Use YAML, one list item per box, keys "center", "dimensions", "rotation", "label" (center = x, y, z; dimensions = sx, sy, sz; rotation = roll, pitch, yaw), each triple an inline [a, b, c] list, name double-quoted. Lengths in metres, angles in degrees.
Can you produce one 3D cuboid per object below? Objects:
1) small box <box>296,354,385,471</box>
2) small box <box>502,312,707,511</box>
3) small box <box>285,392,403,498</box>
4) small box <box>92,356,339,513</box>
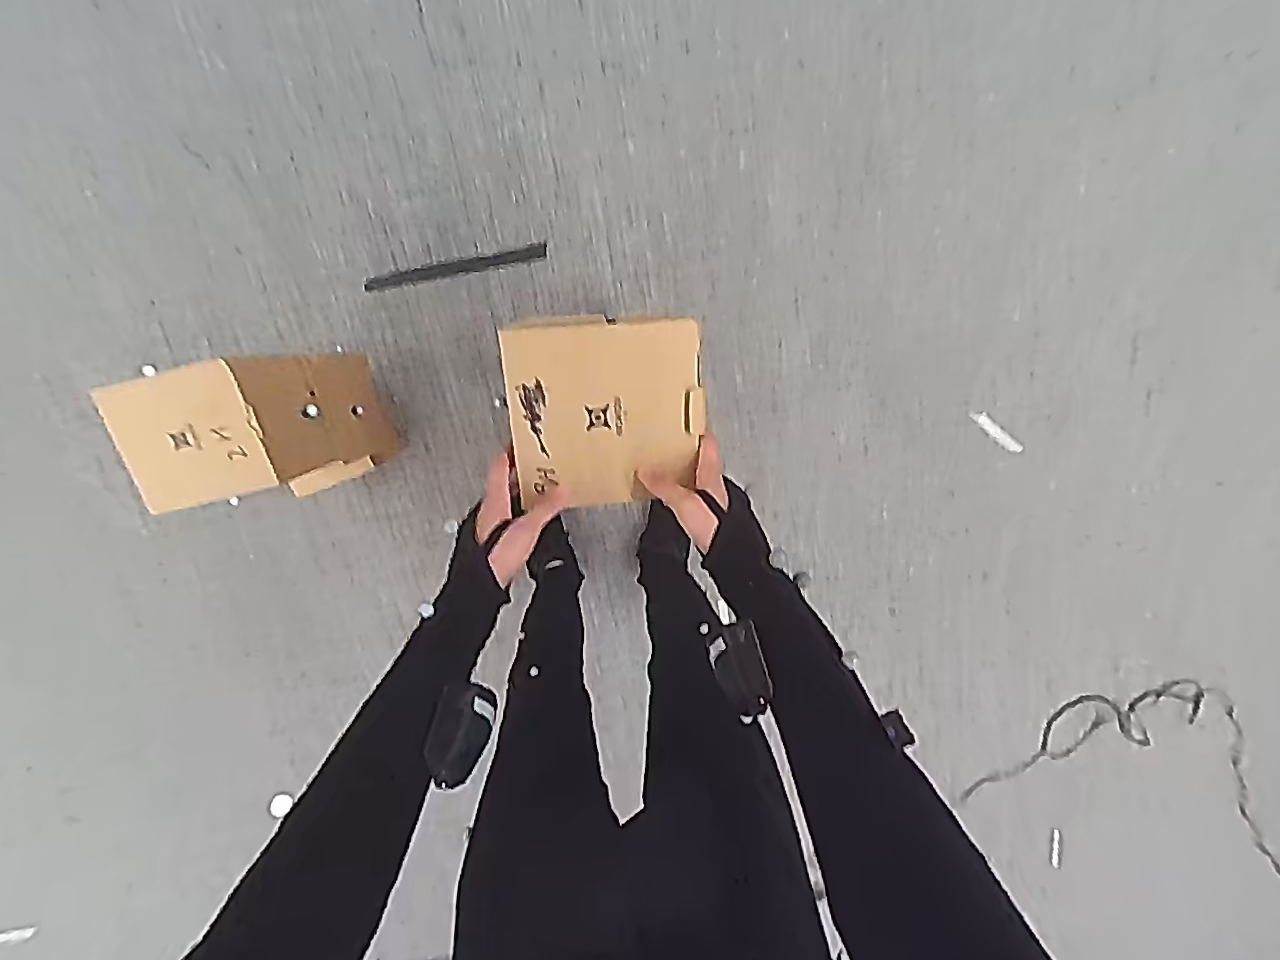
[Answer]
- center: [-0.552, -0.114, 0.899]
  dimensions: [0.168, 0.176, 0.179]
  rotation: [-6, 105, -1]
  label: "small box"
- center: [-0.038, -0.081, 0.553]
  dimensions: [0.179, 0.176, 0.168]
  rotation: [-6, 109, -7]
  label: "small box"
- center: [-0.605, -0.089, 1.071]
  dimensions: [0.168, 0.176, 0.179]
  rotation: [-21, 105, 2]
  label: "small box"
- center: [-0.558, -0.070, 0.740]
  dimensions: [0.179, 0.176, 0.168]
  rotation: [-13, 105, 0]
  label: "small box"
